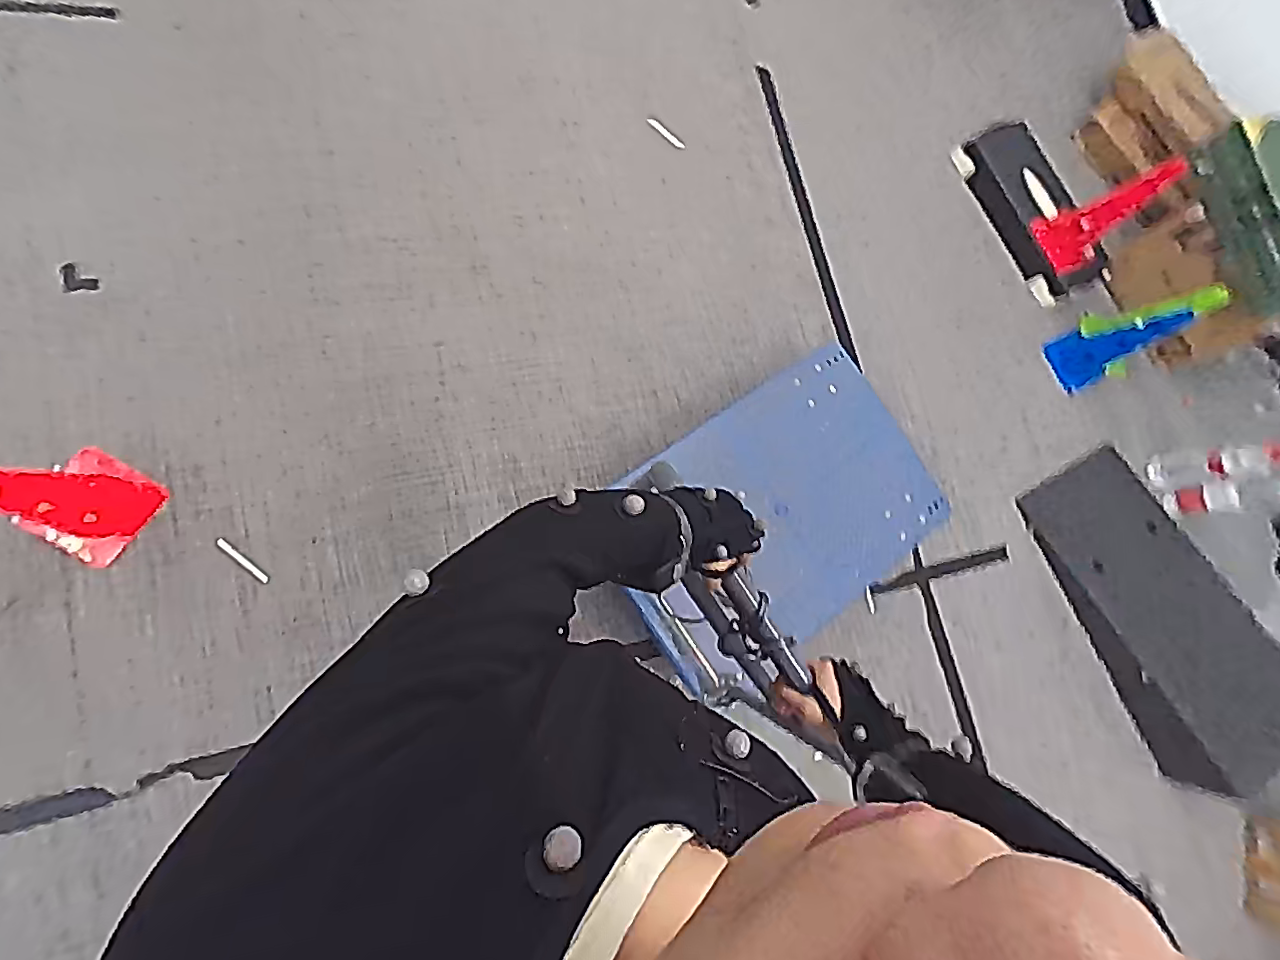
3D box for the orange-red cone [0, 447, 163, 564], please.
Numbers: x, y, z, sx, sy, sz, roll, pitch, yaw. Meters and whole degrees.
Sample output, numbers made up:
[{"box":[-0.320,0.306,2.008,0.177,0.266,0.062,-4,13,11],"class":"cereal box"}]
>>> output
[{"box":[-1.119,0.025,0.985,0.199,0.360,0.198,35,74,-7],"class":"orange-red cone"}]
